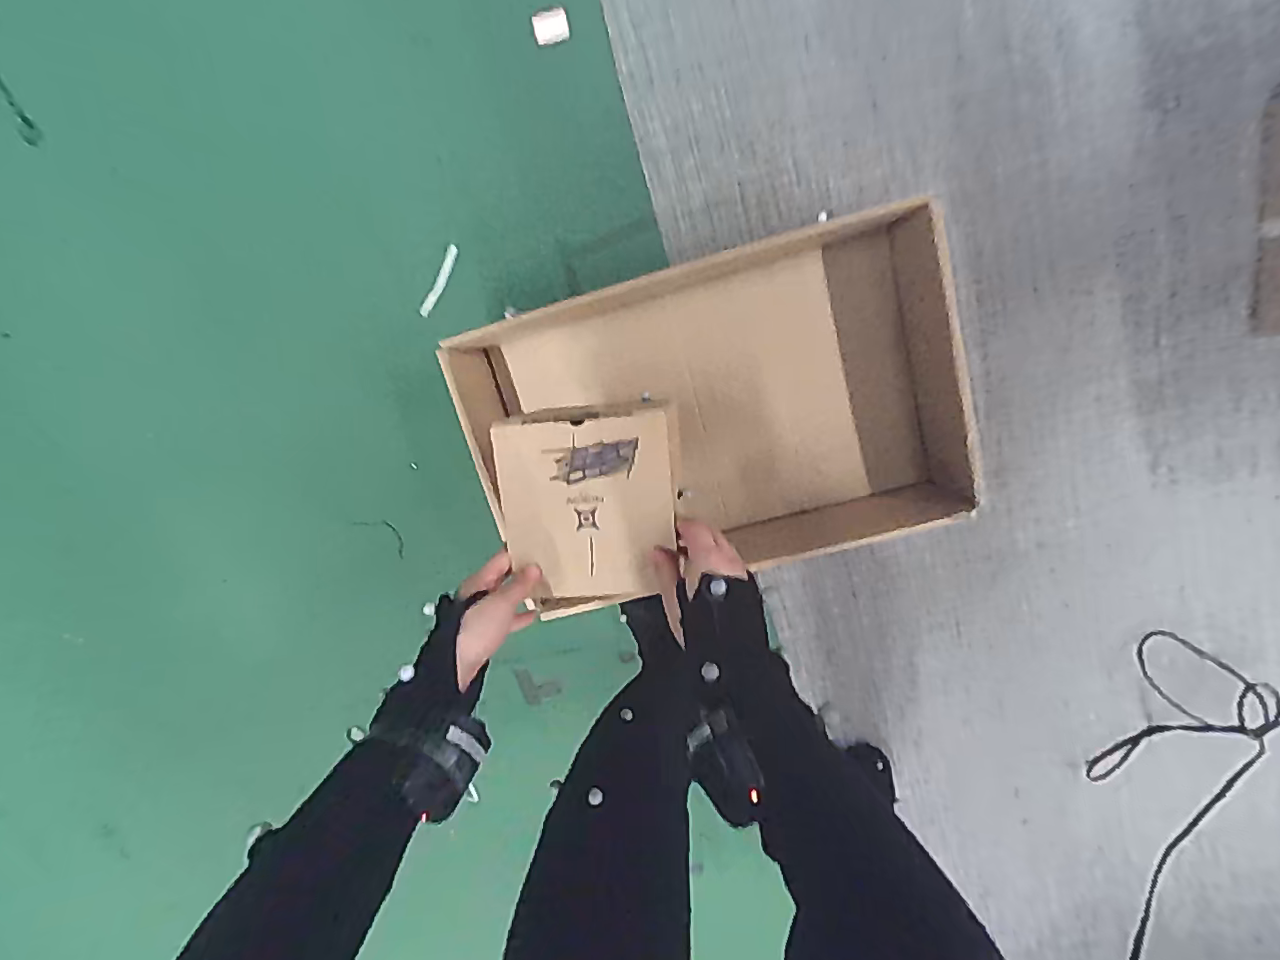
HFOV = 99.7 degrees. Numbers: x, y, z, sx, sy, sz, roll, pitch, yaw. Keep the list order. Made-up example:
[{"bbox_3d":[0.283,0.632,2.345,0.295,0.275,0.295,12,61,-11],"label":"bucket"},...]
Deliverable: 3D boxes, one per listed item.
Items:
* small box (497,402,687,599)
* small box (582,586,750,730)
[{"bbox_3d":[-0.037,0.010,0.576,0.168,0.176,0.179,-3,103,7],"label":"small box"},{"bbox_3d":[0.046,0.259,0.852,0.176,0.168,0.179,34,77,-30],"label":"small box"}]
